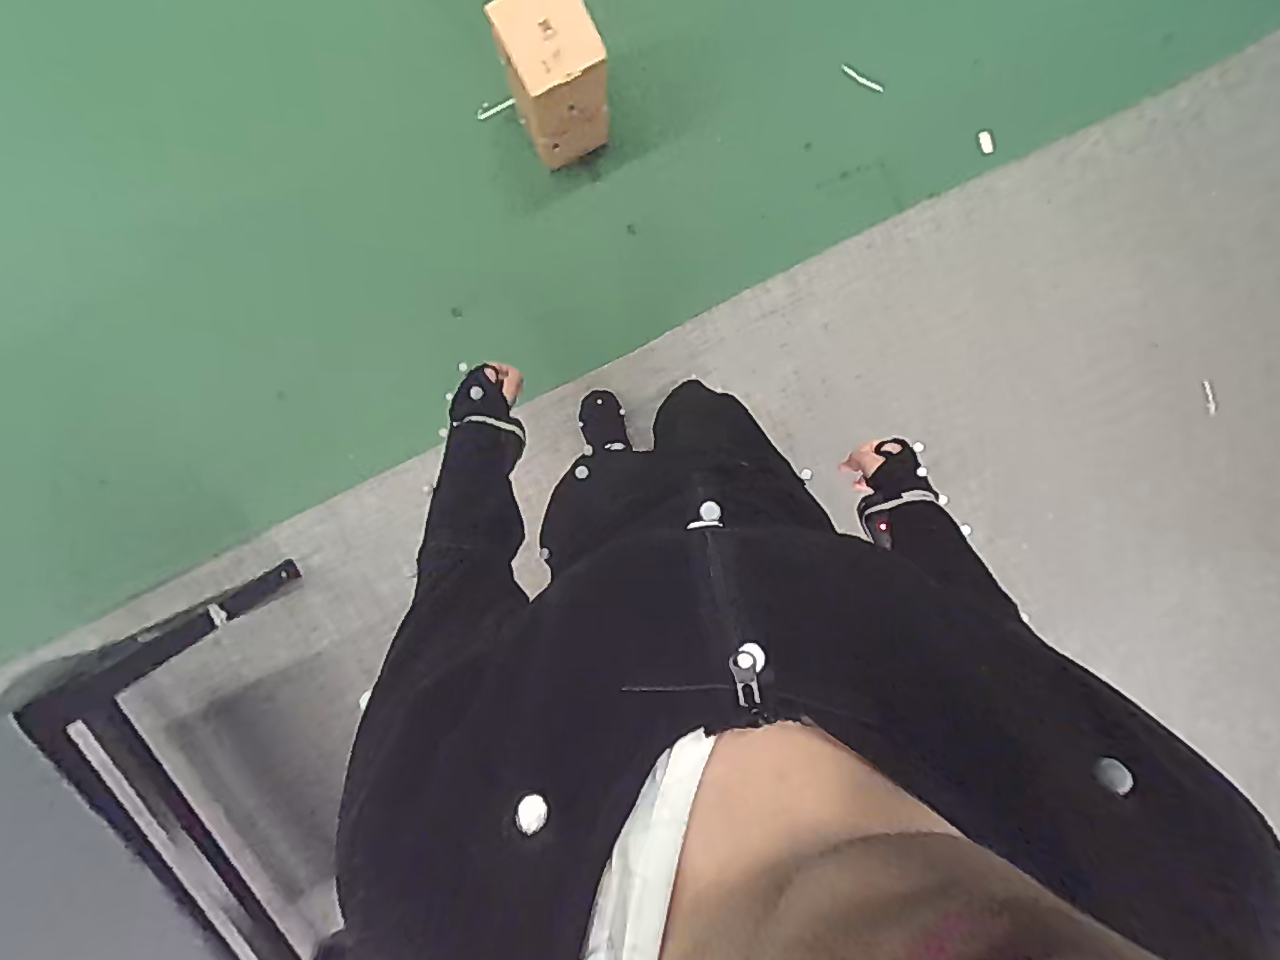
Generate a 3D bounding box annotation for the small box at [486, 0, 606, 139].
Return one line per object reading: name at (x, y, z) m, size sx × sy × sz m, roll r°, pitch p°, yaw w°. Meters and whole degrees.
small box at (-0.182, -0.838, 1.087) m, size 0.168 × 0.176 × 0.179 m, roll -29°, pitch 100°, yaw 1°
